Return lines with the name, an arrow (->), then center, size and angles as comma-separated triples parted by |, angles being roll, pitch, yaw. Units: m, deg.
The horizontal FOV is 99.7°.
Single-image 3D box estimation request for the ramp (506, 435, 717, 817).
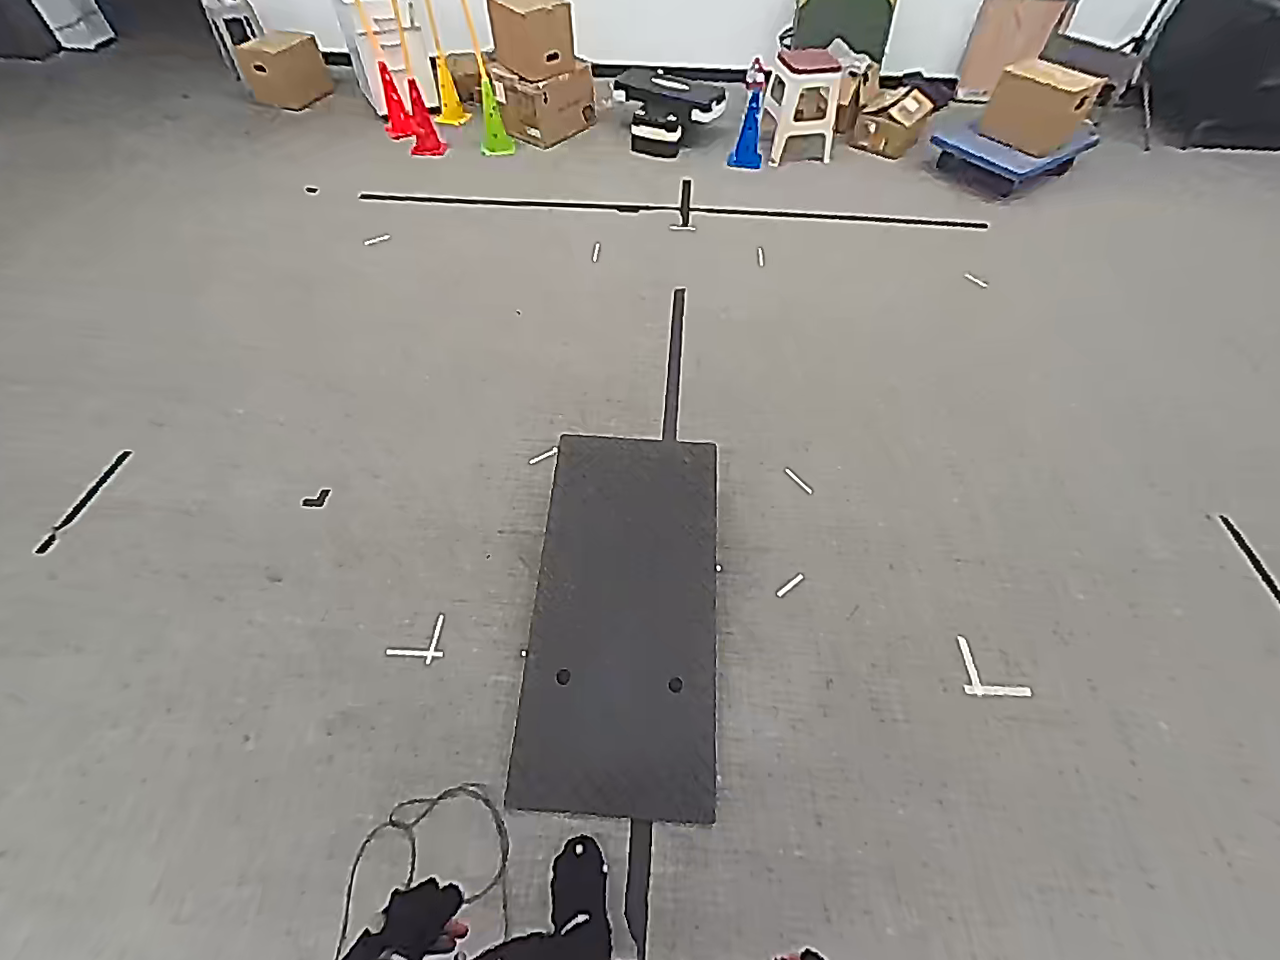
ramp -> -0.036, 0.320, 1.471 | 0.509, 0.206, 0.991 | 3, 54, 0
